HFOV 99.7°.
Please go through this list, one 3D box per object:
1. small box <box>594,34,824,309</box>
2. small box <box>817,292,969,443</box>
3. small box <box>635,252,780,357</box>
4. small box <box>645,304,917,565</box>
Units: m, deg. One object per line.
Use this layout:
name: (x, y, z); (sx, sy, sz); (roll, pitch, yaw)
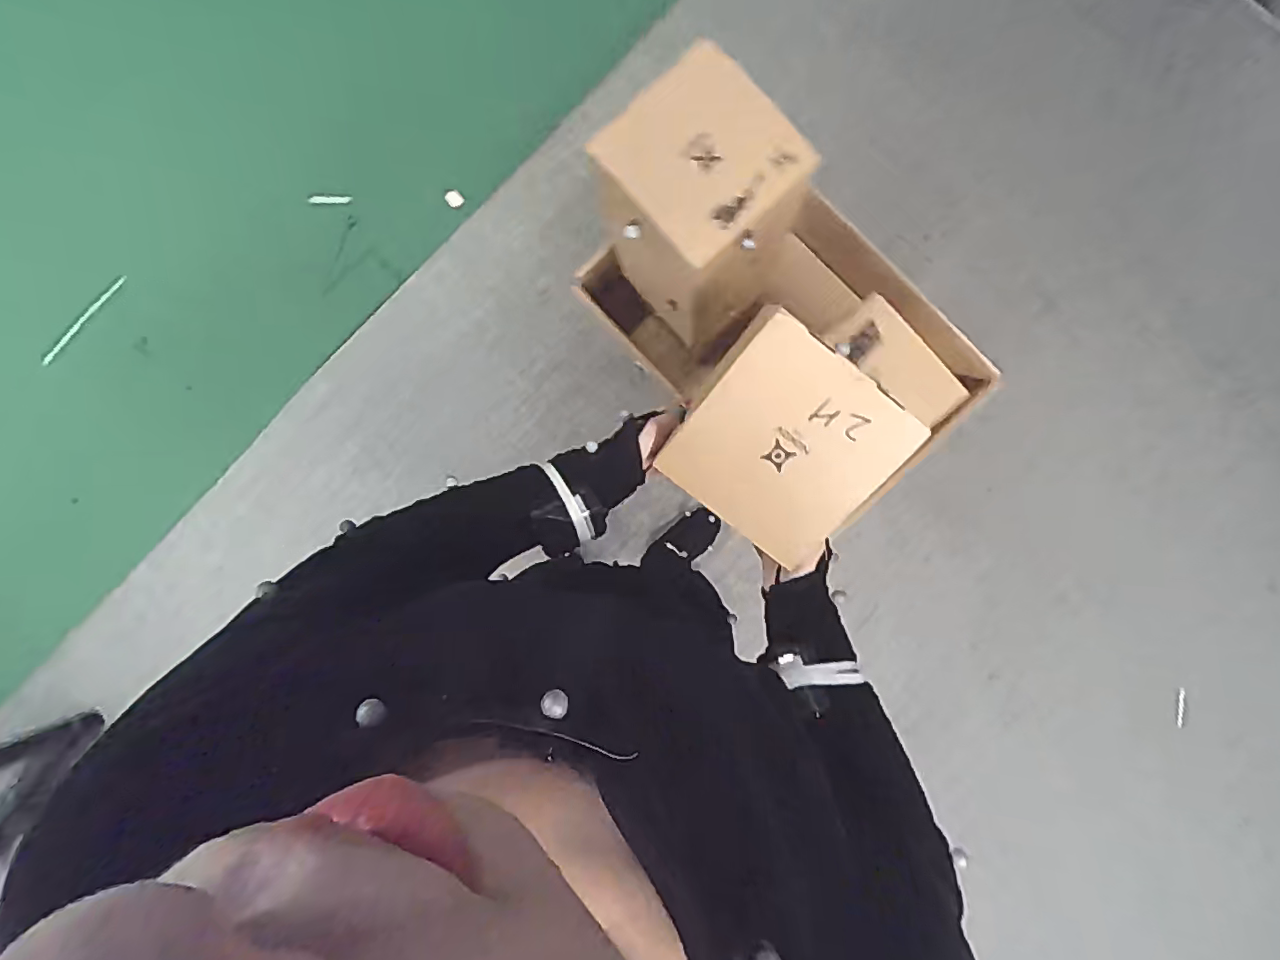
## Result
small box: (0.073, -0.331, 0.620); (0.168, 0.176, 0.179); (-40, 86, 4)
small box: (0.300, -0.121, 0.760); (0.168, 0.176, 0.179); (-40, 87, 3)
small box: (0.112, -0.341, 0.945); (0.168, 0.176, 0.179); (-41, 87, 3)
small box: (0.130, -0.055, 0.543); (0.168, 0.176, 0.179); (37, 110, -4)
